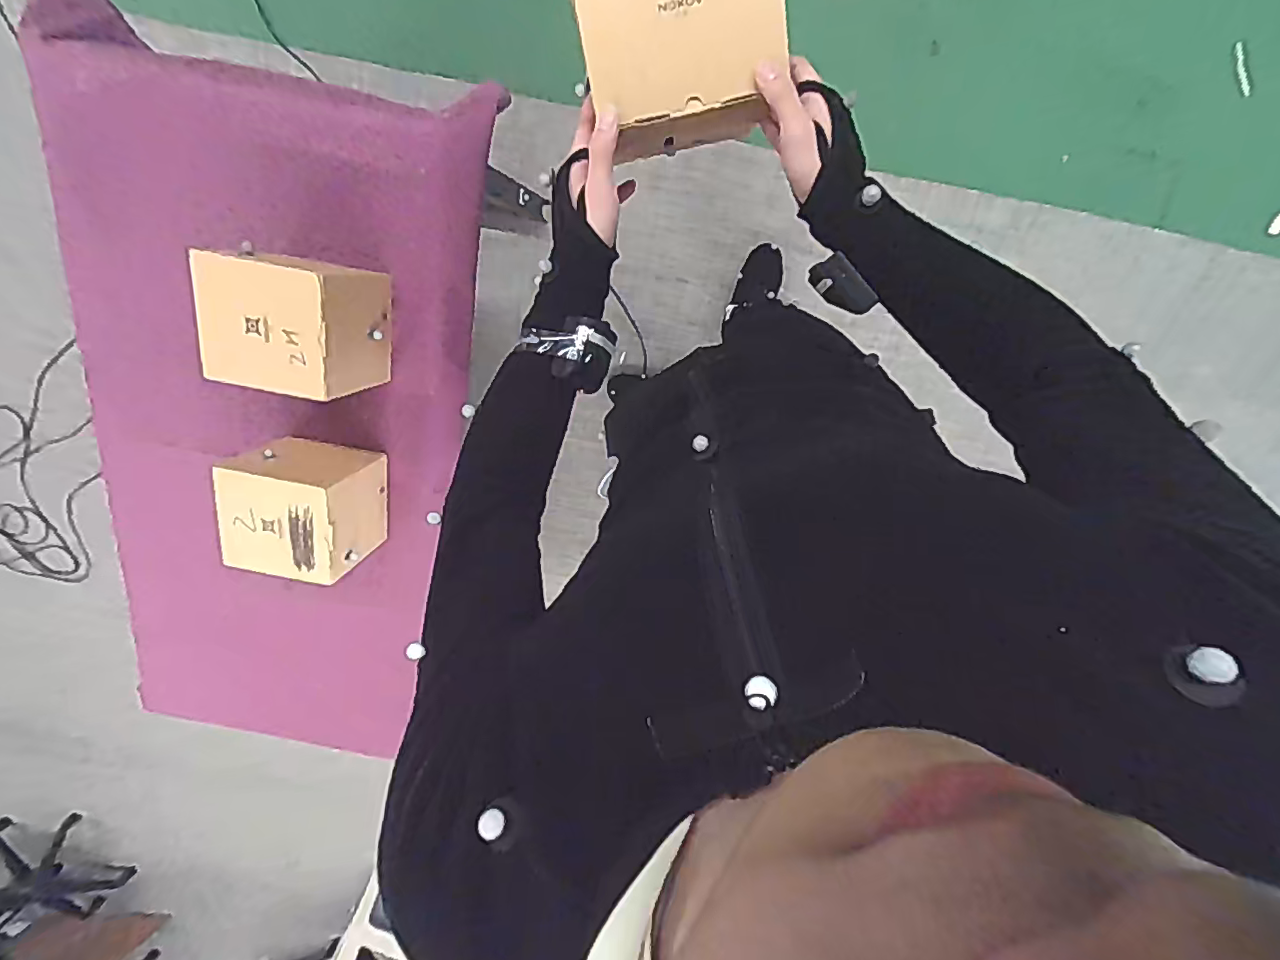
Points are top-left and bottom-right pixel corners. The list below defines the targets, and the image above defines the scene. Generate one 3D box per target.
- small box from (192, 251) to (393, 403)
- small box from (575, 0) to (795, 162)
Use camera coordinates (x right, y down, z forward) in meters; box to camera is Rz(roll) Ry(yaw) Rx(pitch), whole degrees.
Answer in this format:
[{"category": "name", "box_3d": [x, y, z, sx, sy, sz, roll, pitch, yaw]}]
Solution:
[{"category": "small box", "box_3d": [-0.483, -0.221, 0.775, 0.179, 0.176, 0.168, 11, 111, 1]}, {"category": "small box", "box_3d": [0.031, -0.417, 0.496, 0.168, 0.176, 0.179, -11, 113, 2]}]
